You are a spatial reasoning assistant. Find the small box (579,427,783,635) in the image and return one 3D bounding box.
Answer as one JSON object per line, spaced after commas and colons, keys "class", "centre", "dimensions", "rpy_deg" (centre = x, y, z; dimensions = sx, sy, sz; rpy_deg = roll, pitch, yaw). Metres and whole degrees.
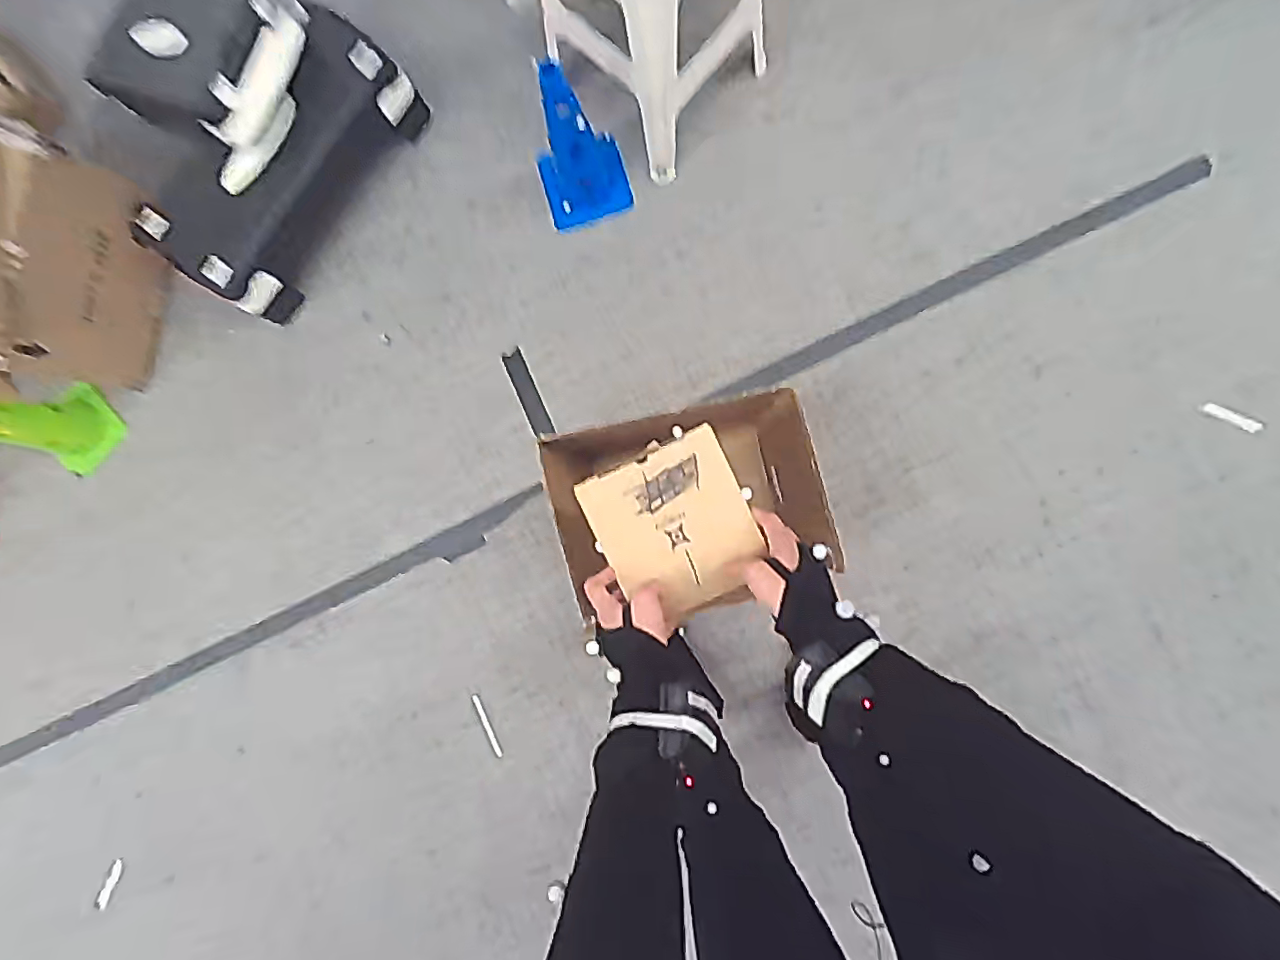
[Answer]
{"class": "small box", "centre": [0.046, 0.052, 0.649], "dimensions": [0.168, 0.176, 0.179], "rpy_deg": [-26, 92, 5]}
